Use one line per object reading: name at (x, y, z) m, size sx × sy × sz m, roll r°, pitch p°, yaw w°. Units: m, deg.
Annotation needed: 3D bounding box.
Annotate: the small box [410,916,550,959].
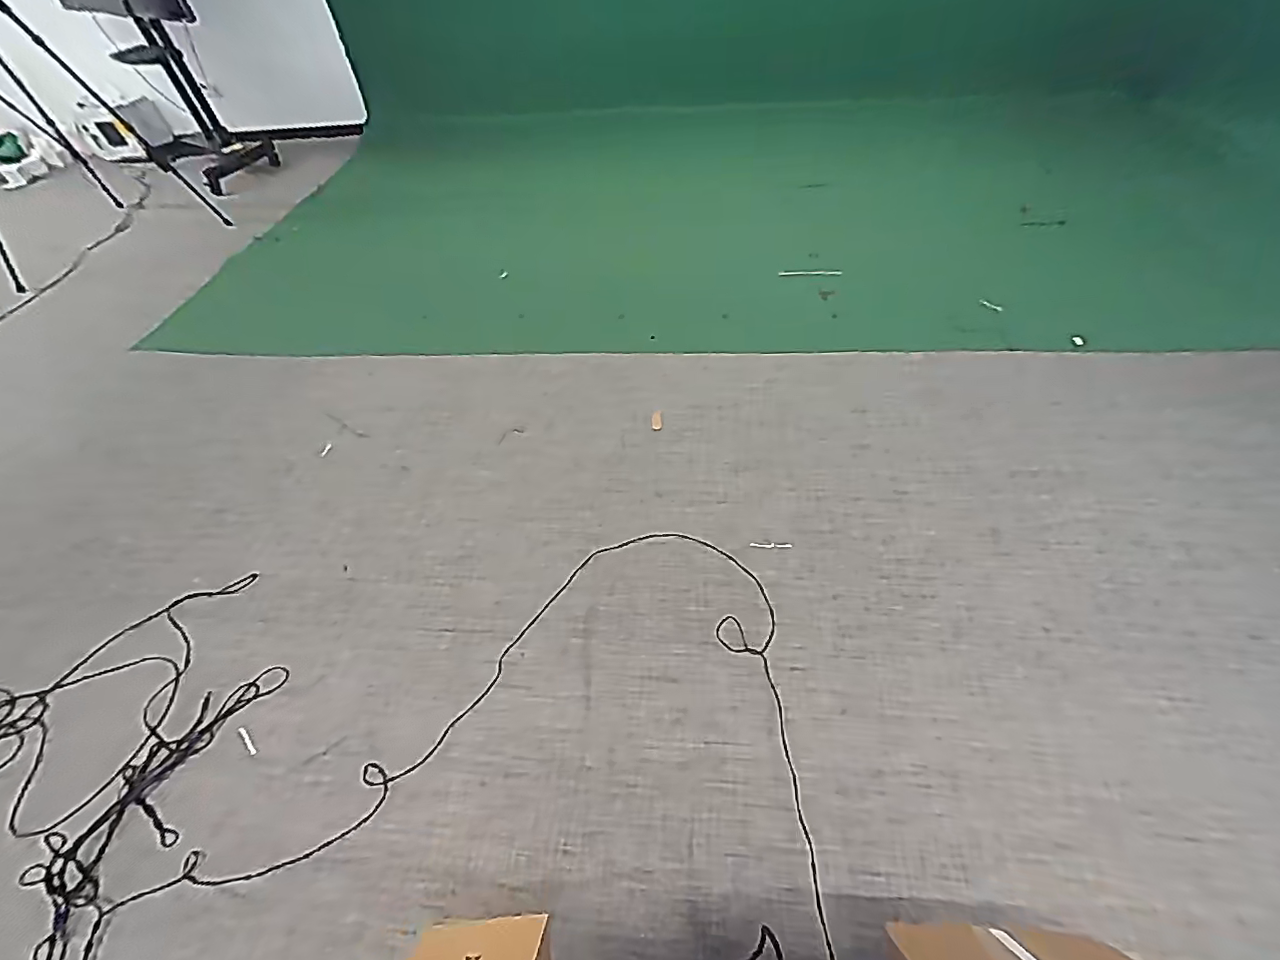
small box at (-0.201, 0.672, 0.644) m, size 0.168 × 0.179 × 0.176 m, roll -6°, pitch 80°, yaw -1°
